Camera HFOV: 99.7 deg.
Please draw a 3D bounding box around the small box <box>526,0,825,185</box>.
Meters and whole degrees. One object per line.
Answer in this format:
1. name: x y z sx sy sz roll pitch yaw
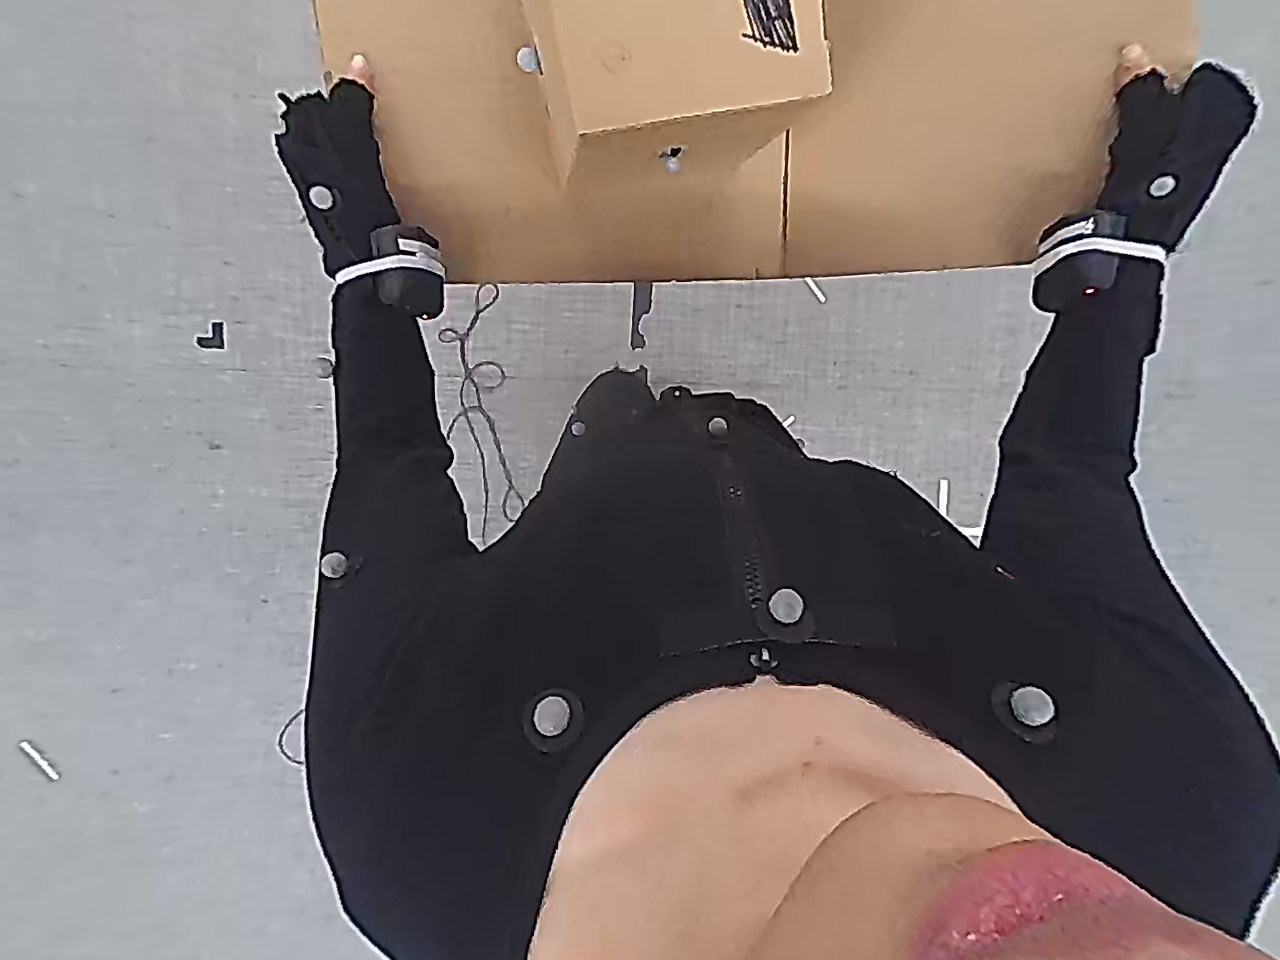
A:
1. small box: 0.015 -0.343 0.410 0.179 0.176 0.168 -14 108 -7
